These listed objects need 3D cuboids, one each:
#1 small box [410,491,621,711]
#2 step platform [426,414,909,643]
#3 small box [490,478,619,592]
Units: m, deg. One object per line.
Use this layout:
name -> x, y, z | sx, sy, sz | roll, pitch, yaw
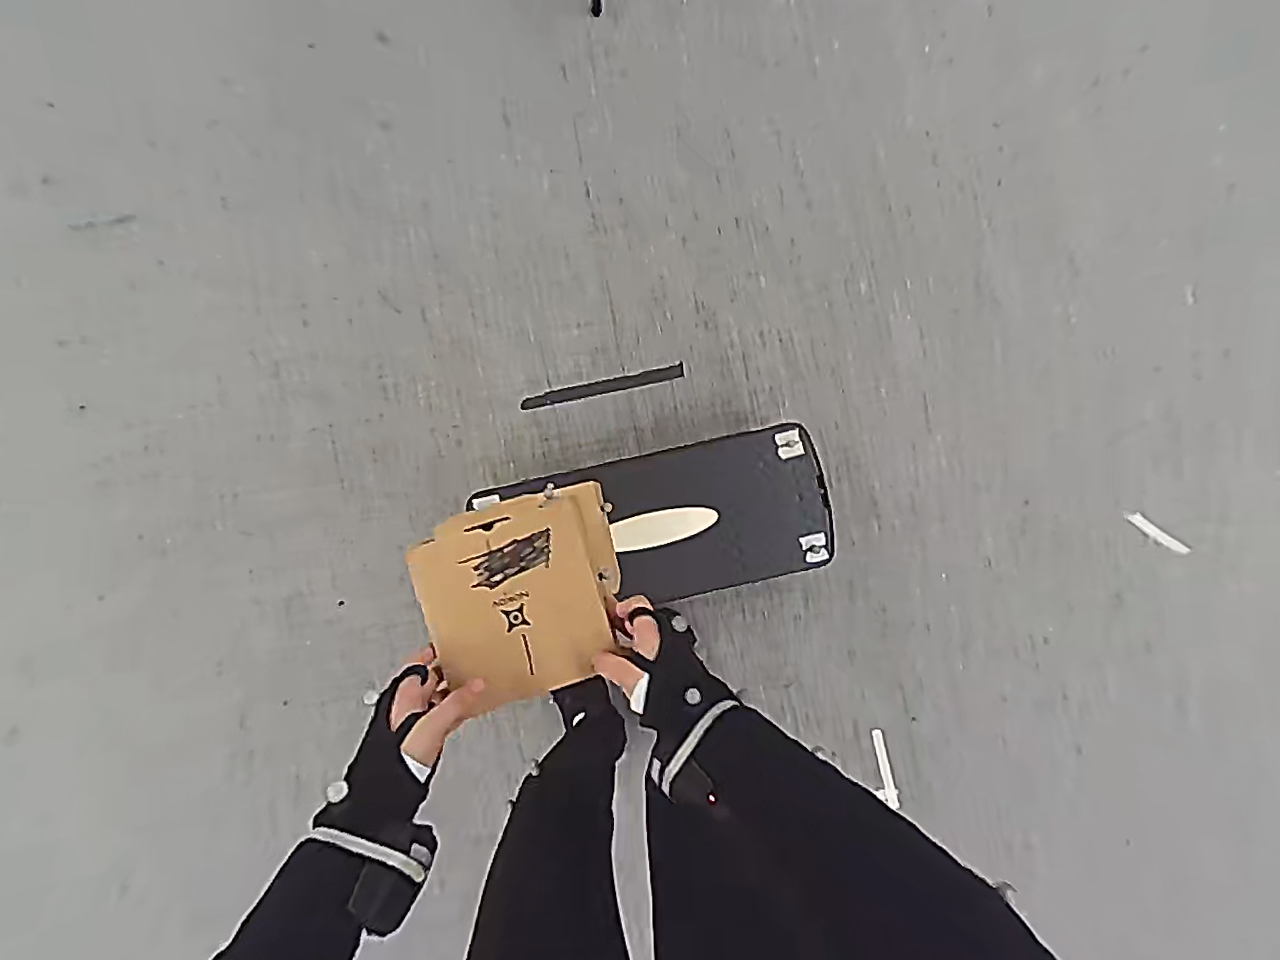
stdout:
small box -> -0.126, 0.116, 0.601 | 0.168, 0.176, 0.179 | -17, 93, -4
step platform -> 0.039, 0.110, 0.861 | 0.684, 0.204, 0.286 | -13, 89, -2
small box -> -0.132, 0.101, 0.893 | 0.168, 0.176, 0.179 | -13, 89, -1
